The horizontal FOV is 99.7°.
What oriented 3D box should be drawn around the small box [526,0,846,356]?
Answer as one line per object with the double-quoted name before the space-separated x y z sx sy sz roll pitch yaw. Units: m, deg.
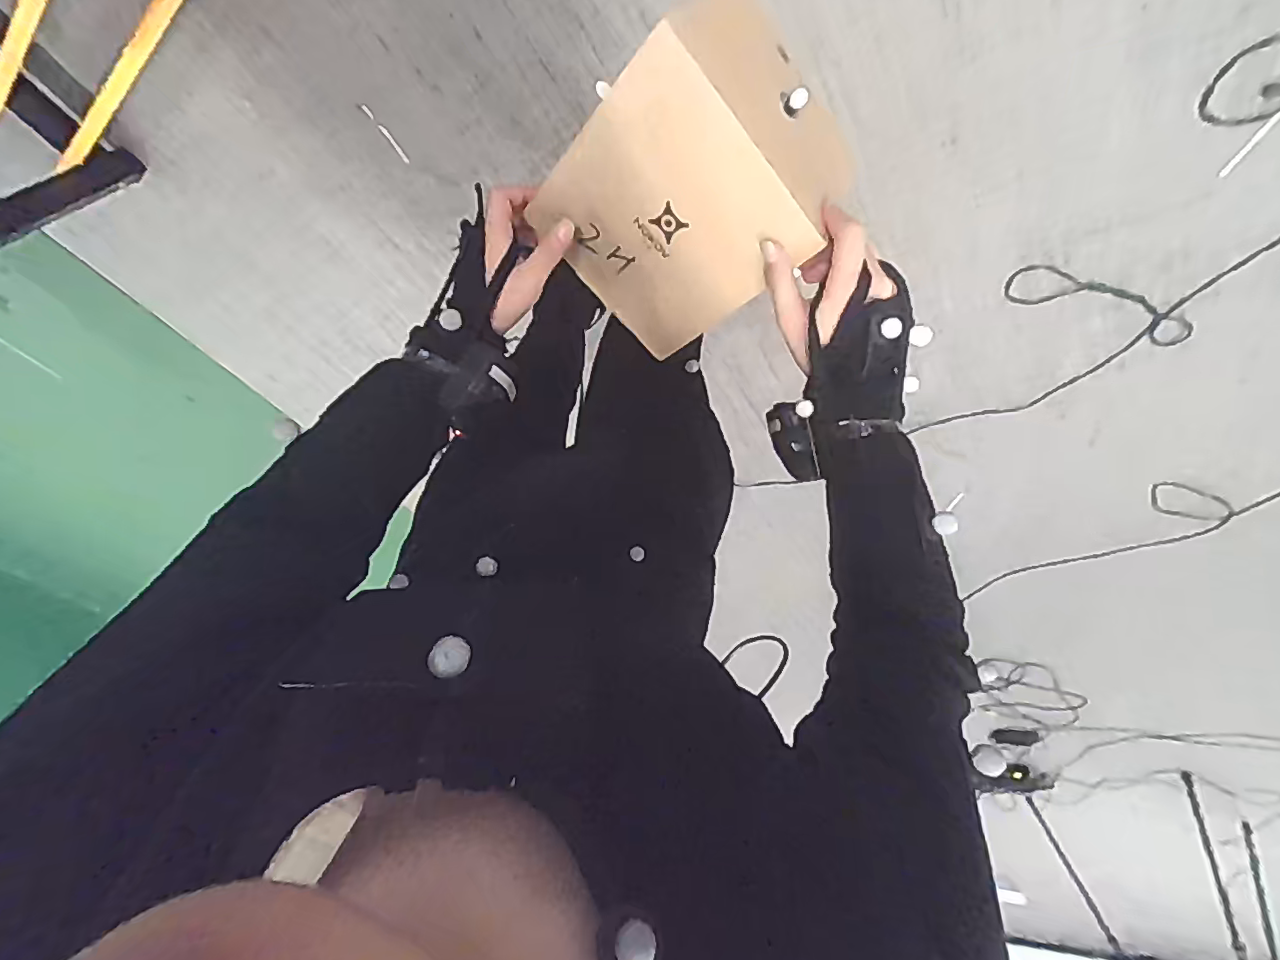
"small box" 0.046 -0.242 0.438 0.168 0.176 0.179 43 141 -19
